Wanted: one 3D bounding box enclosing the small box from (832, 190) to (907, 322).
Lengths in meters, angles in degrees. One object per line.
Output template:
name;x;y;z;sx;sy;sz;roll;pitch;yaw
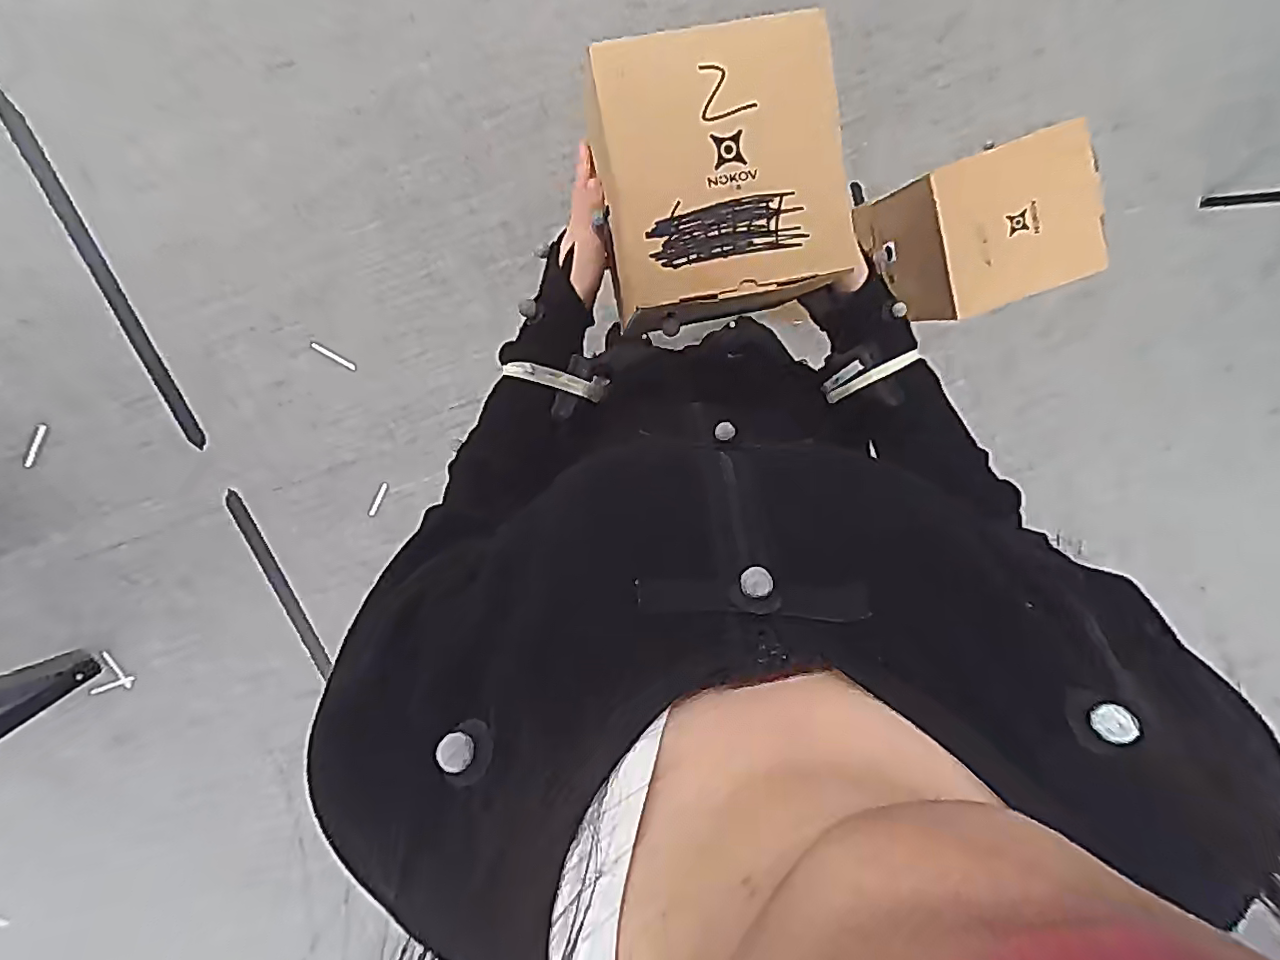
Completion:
small box;0.412;-0.347;0.829;0.179;0.176;0.168;-18;105;3

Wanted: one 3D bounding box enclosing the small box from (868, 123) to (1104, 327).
small box;0.417;-0.300;0.674;0.179;0.176;0.168;-19;104;5

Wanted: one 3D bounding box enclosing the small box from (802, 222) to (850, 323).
small box;0.408;-0.389;0.988;0.179;0.176;0.168;-16;106;4

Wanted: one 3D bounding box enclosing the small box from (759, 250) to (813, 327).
small box;0.401;-0.482;1.302;0.168;0.176;0.179;-18;106;4

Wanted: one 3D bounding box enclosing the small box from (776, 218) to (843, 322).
small box;0.399;-0.442;1.142;0.168;0.176;0.179;-16;106;4
